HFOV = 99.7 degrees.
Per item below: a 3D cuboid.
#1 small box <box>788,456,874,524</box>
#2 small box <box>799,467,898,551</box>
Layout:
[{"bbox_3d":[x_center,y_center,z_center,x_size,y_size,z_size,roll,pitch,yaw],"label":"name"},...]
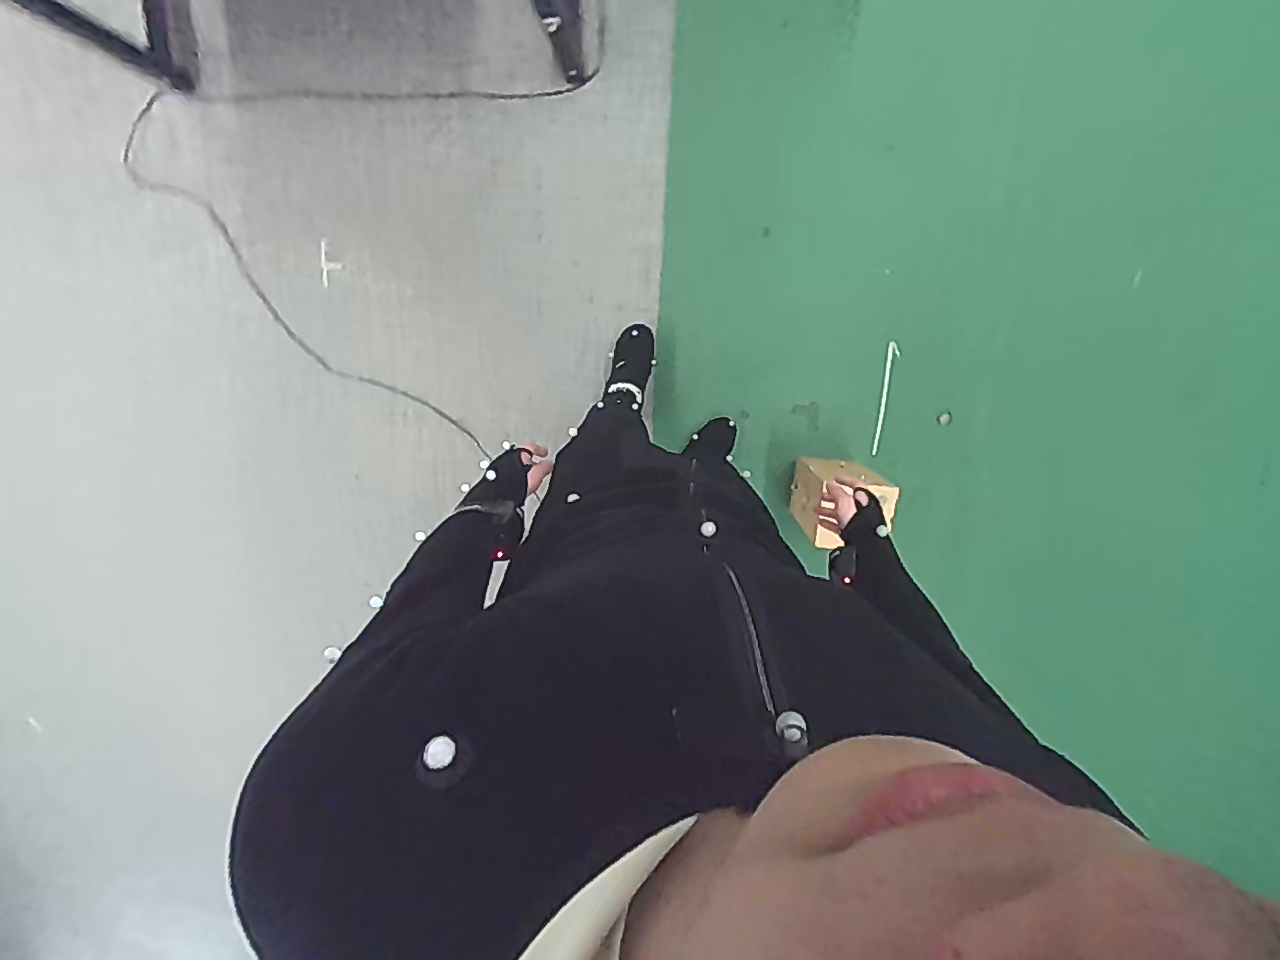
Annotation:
[{"bbox_3d":[0.526,0.030,1.511,0.179,0.176,0.168,6,102,4],"label":"small box"},{"bbox_3d":[0.513,0.066,1.352,0.179,0.176,0.168,5,102,4],"label":"small box"}]
